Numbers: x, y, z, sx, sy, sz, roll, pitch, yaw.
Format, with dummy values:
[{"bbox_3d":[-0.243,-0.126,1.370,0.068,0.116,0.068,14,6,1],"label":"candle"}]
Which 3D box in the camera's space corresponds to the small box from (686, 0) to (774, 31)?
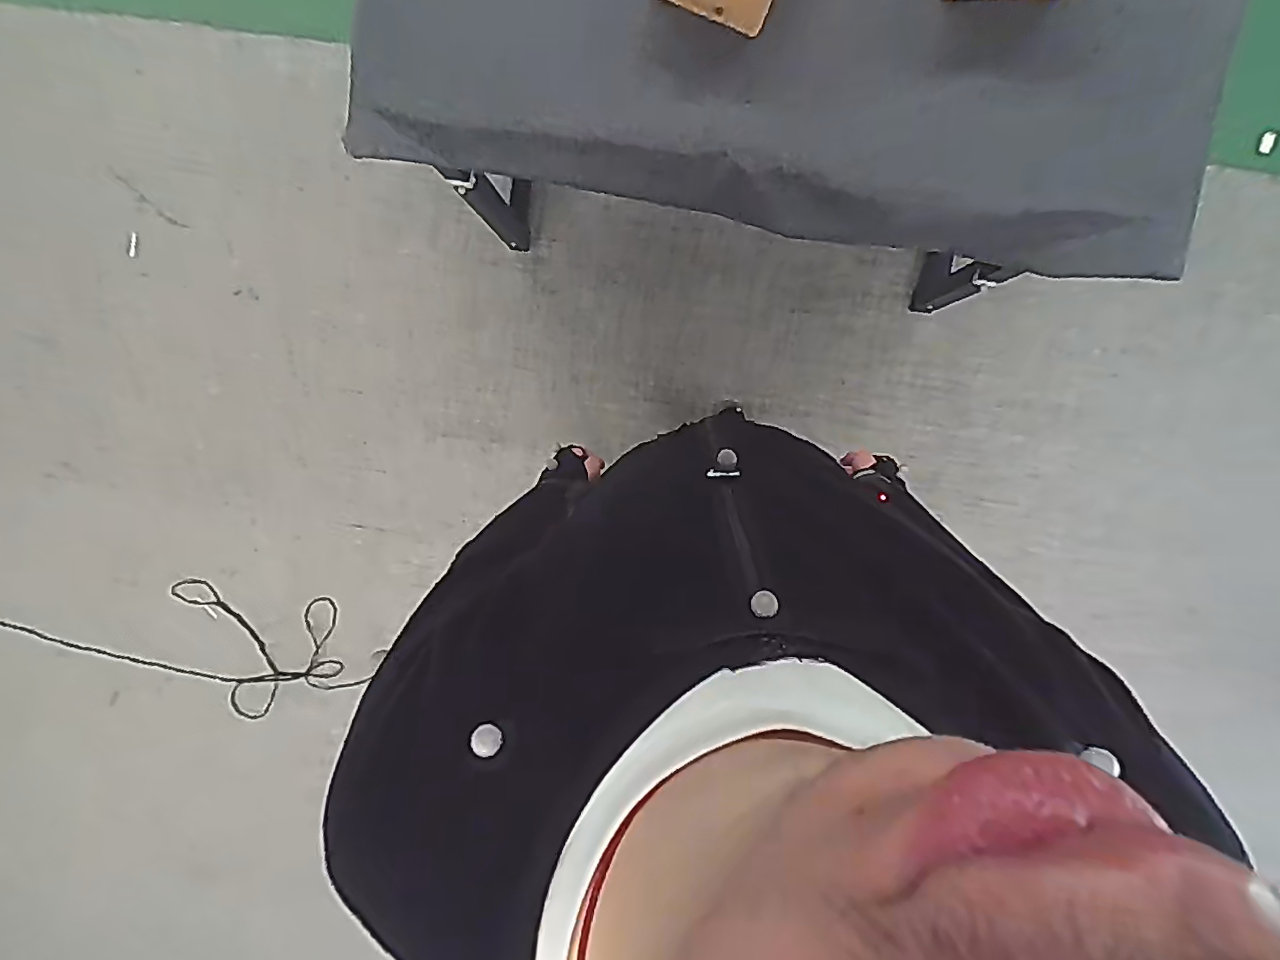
[{"bbox_3d":[0.123,-0.723,0.672,0.168,0.176,0.179,23,97,-1],"label":"small box"}]
